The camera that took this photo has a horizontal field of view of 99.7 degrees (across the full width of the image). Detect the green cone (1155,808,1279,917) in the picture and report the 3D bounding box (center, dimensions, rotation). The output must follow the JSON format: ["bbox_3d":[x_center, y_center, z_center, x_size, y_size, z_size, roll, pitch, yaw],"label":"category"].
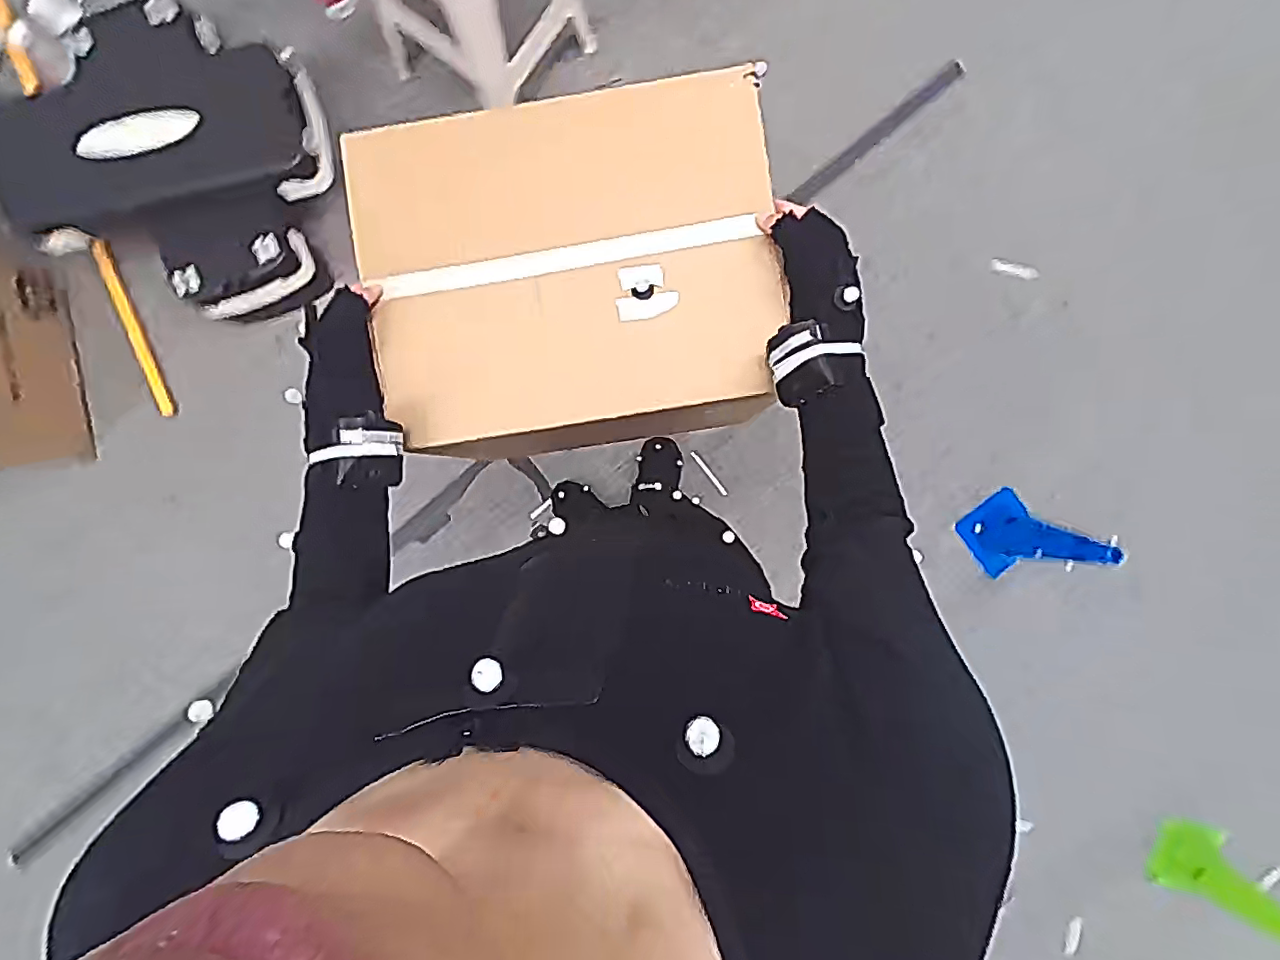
[{"bbox_3d":[1.633,1.081,1.418,0.200,0.368,0.202,13,91,-3],"label":"green cone"}]

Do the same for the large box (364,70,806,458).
[{"bbox_3d":[-0.054,-0.216,0.676,0.408,0.320,0.320,-8,90,1],"label":"large box"}]

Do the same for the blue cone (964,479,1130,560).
[{"bbox_3d":[1.034,0.121,1.363,0.192,0.380,0.193,-37,94,-1],"label":"blue cone"}]
